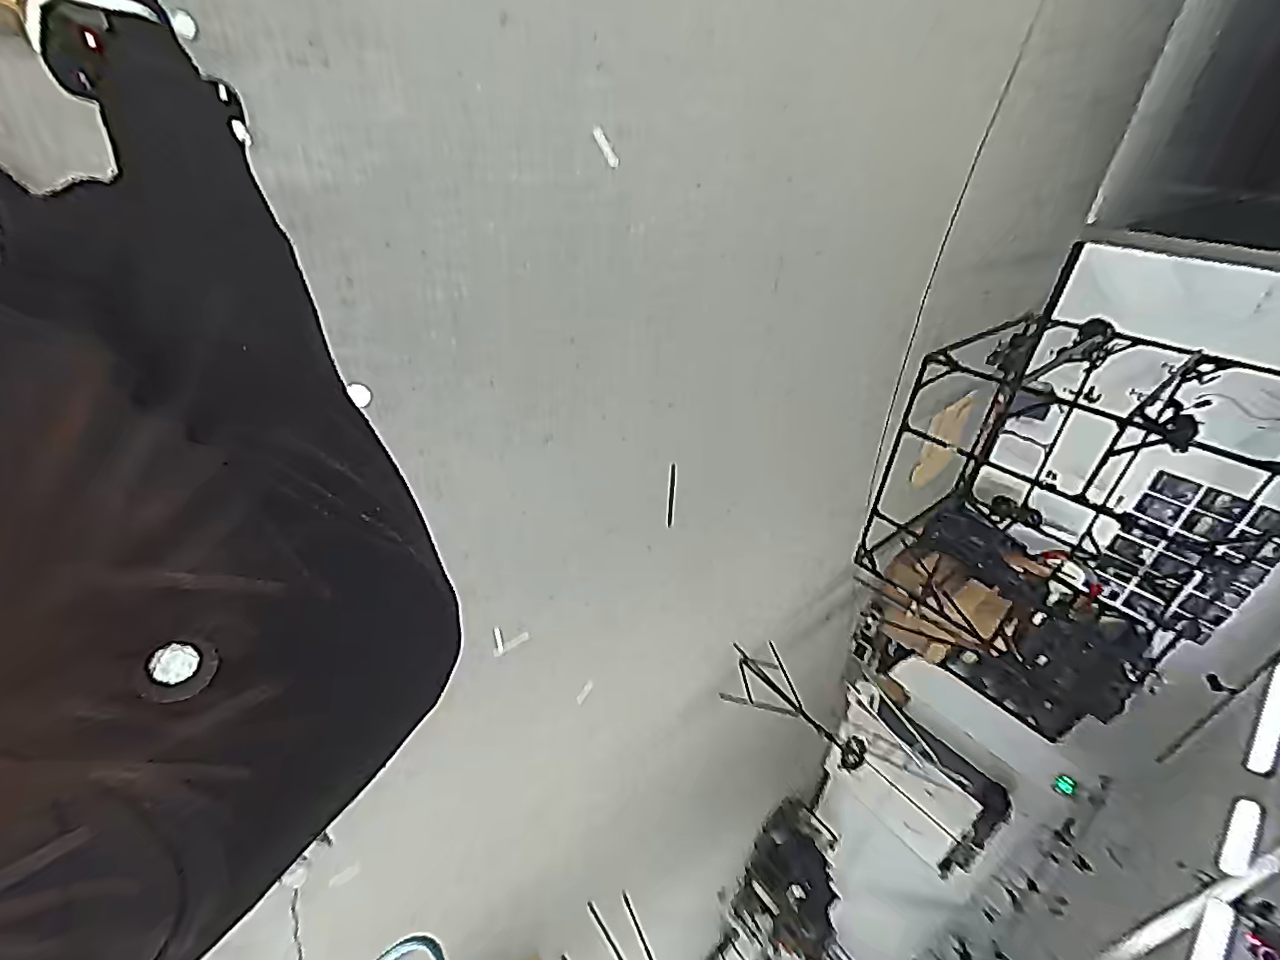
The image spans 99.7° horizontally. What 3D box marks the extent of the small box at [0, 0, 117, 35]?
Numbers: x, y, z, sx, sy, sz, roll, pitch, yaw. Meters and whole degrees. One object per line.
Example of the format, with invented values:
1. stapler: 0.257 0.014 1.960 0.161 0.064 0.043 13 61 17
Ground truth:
1. small box: -0.844 -0.725 0.721 0.168 0.176 0.179 -20 131 -36

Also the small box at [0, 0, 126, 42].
1. small box: -0.945 -0.789 0.833 0.179 0.176 0.168 -23 132 -32
